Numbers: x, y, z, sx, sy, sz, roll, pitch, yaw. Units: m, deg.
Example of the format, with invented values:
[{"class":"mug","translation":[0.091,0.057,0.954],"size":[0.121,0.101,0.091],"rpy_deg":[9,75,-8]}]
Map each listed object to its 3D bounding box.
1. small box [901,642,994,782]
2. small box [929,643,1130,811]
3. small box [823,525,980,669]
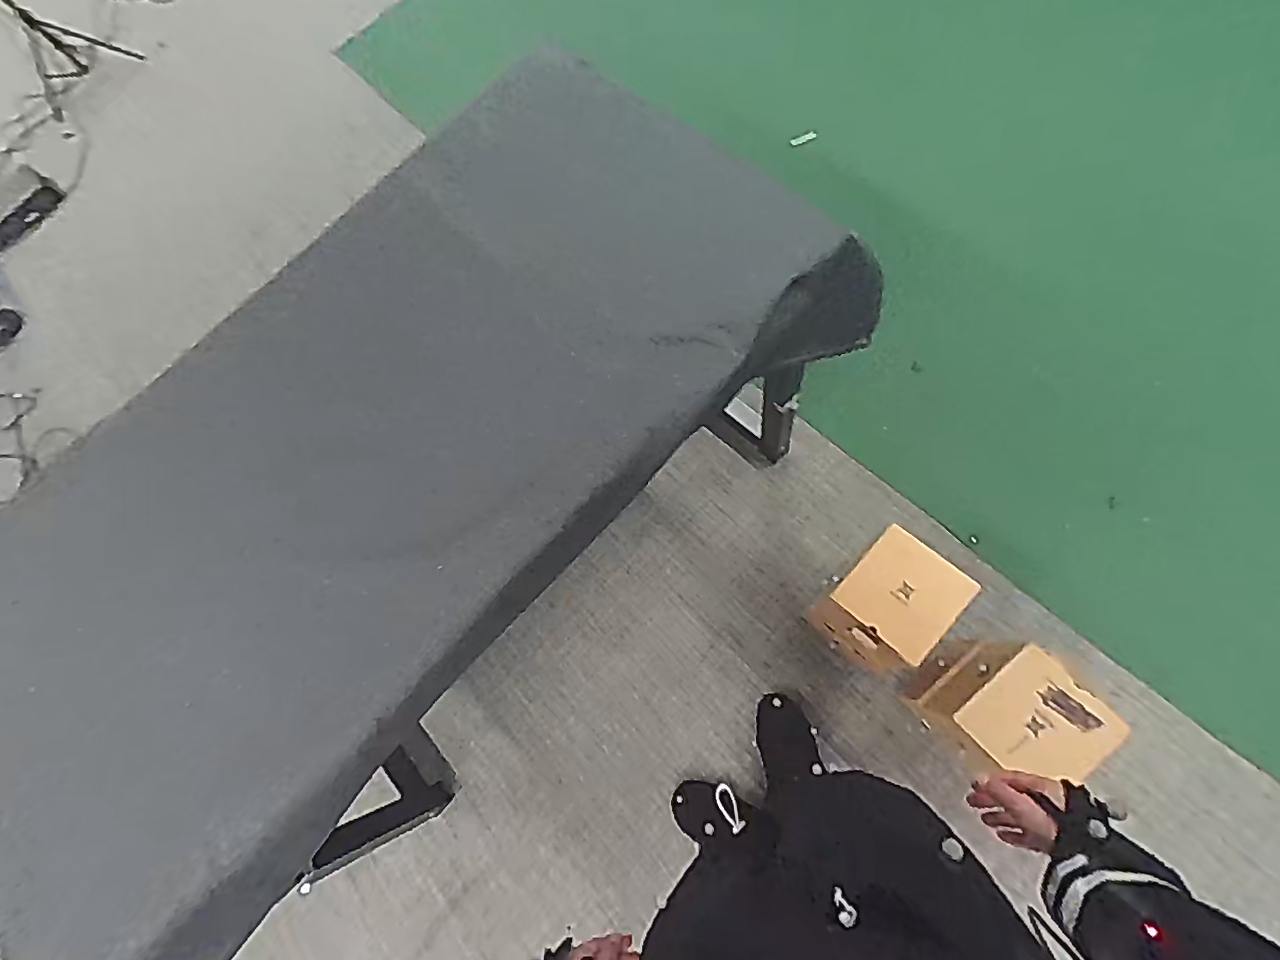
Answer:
[{"class":"small box","translation":[0.633,0.428,1.030],"size":[0.179,0.176,0.168],"rpy_deg":[-42,69,-2]},{"class":"small box","translation":[0.606,0.384,0.873],"size":[0.179,0.176,0.168],"rpy_deg":[-42,69,-3]},{"class":"small box","translation":[0.447,0.210,0.960],"size":[0.168,0.176,0.179],"rpy_deg":[40,83,20]}]
